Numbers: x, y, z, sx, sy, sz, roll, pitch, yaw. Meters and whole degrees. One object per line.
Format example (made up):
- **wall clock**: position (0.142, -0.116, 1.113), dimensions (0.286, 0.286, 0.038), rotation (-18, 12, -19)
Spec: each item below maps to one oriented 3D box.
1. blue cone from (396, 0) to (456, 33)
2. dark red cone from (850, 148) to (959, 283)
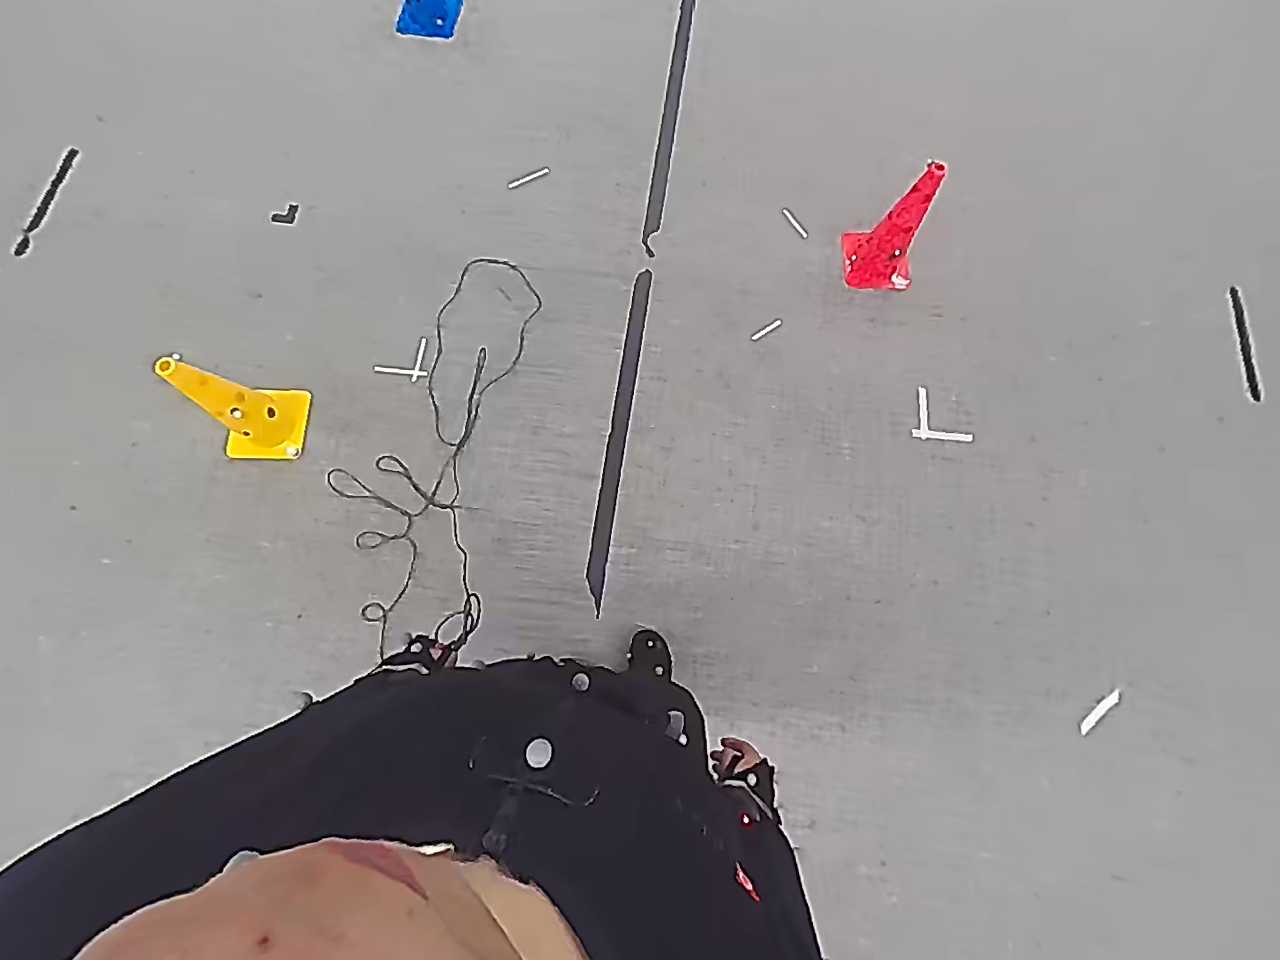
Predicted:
- **blue cone**: position (-0.735, -1.658, 1.705), dimensions (0.192, 0.380, 0.193), rotation (8, 75, 2)
- **dark red cone**: position (0.738, -0.724, 1.466), dimensions (0.201, 0.394, 0.202), rotation (0, 75, 0)
